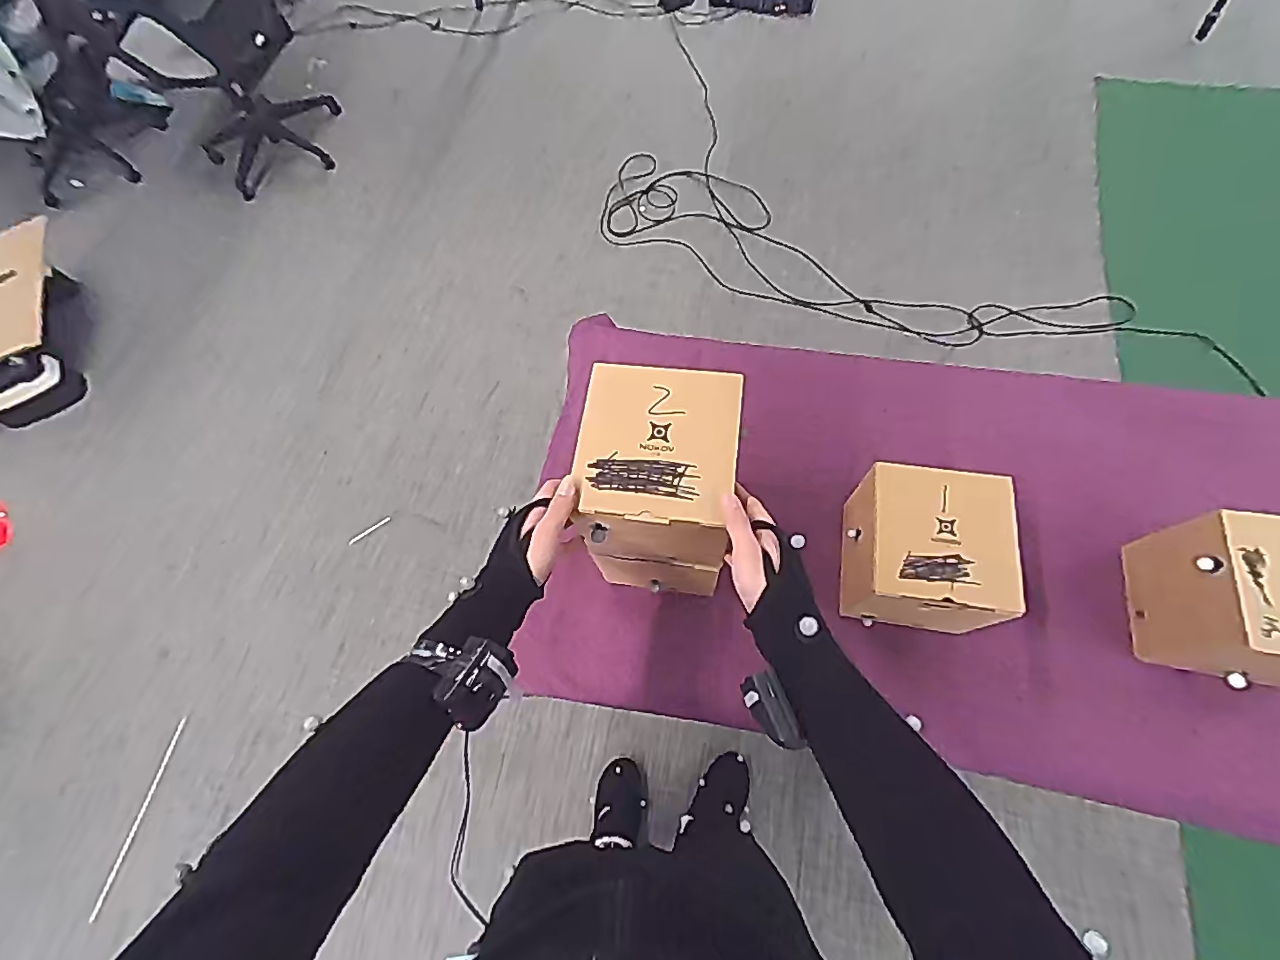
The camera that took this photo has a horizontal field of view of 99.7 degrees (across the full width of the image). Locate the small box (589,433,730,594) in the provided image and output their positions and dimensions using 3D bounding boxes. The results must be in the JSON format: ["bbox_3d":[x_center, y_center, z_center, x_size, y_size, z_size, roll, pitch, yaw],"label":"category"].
[{"bbox_3d":[0.033,0.053,0.780,0.168,0.176,0.179,7,68,8],"label":"small box"}]

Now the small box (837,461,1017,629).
[{"bbox_3d":[0.373,0.096,0.731,0.168,0.176,0.179,8,67,8],"label":"small box"}]

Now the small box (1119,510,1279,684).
[{"bbox_3d":[0.755,0.152,0.669,0.179,0.176,0.168,9,68,9],"label":"small box"}]
